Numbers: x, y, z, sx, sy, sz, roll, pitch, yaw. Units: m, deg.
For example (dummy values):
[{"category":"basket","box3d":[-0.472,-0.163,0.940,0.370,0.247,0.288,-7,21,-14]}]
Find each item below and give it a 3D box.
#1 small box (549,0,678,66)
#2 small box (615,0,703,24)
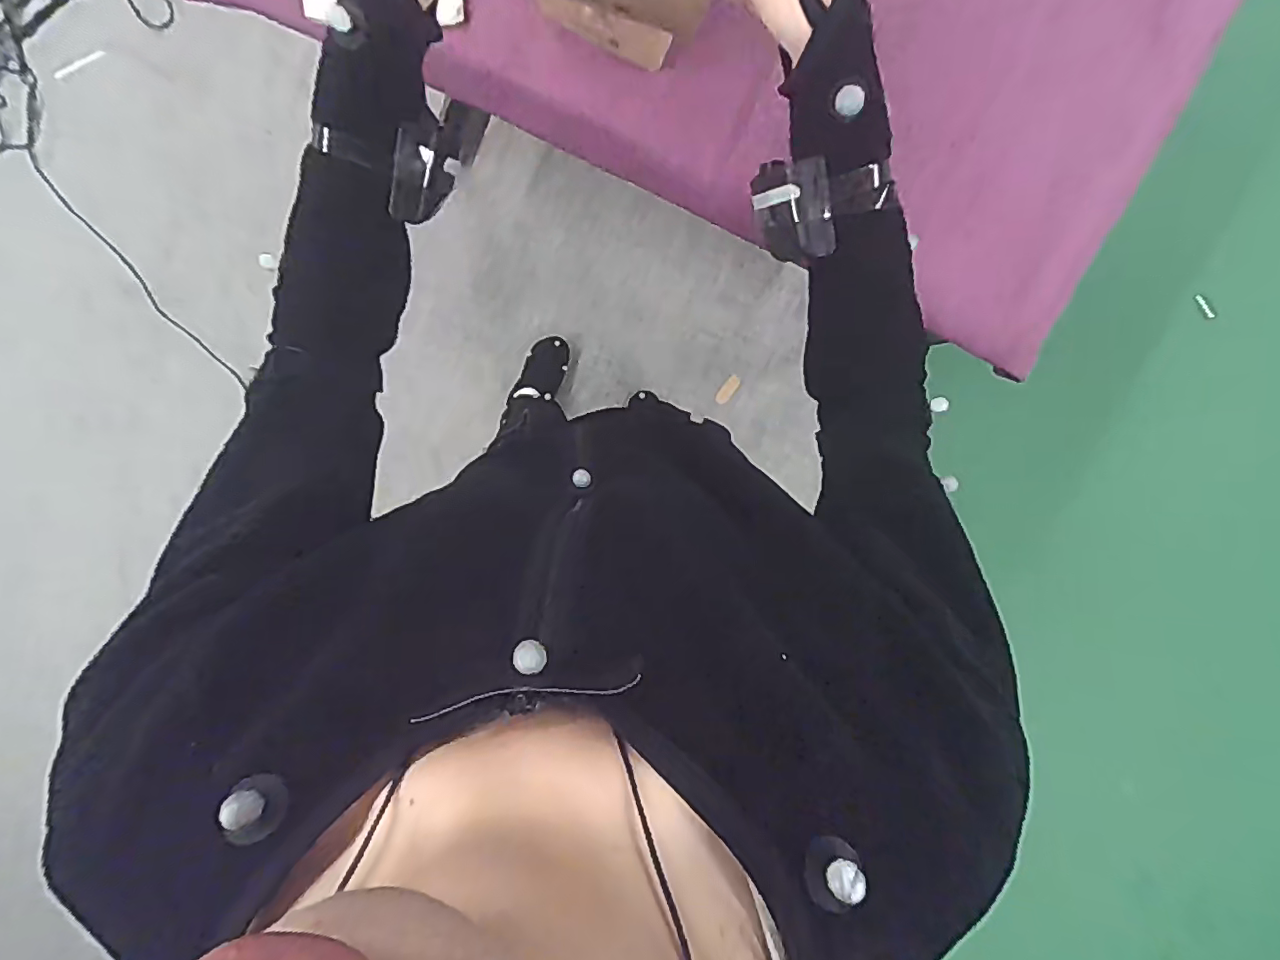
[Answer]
[{"category":"small box","box3d":[-0.014,-0.620,0.599,0.168,0.176,0.179,25,99,-4]},{"category":"small box","box3d":[-0.008,-0.436,0.339,0.168,0.176,0.179,10,112,-10]}]
